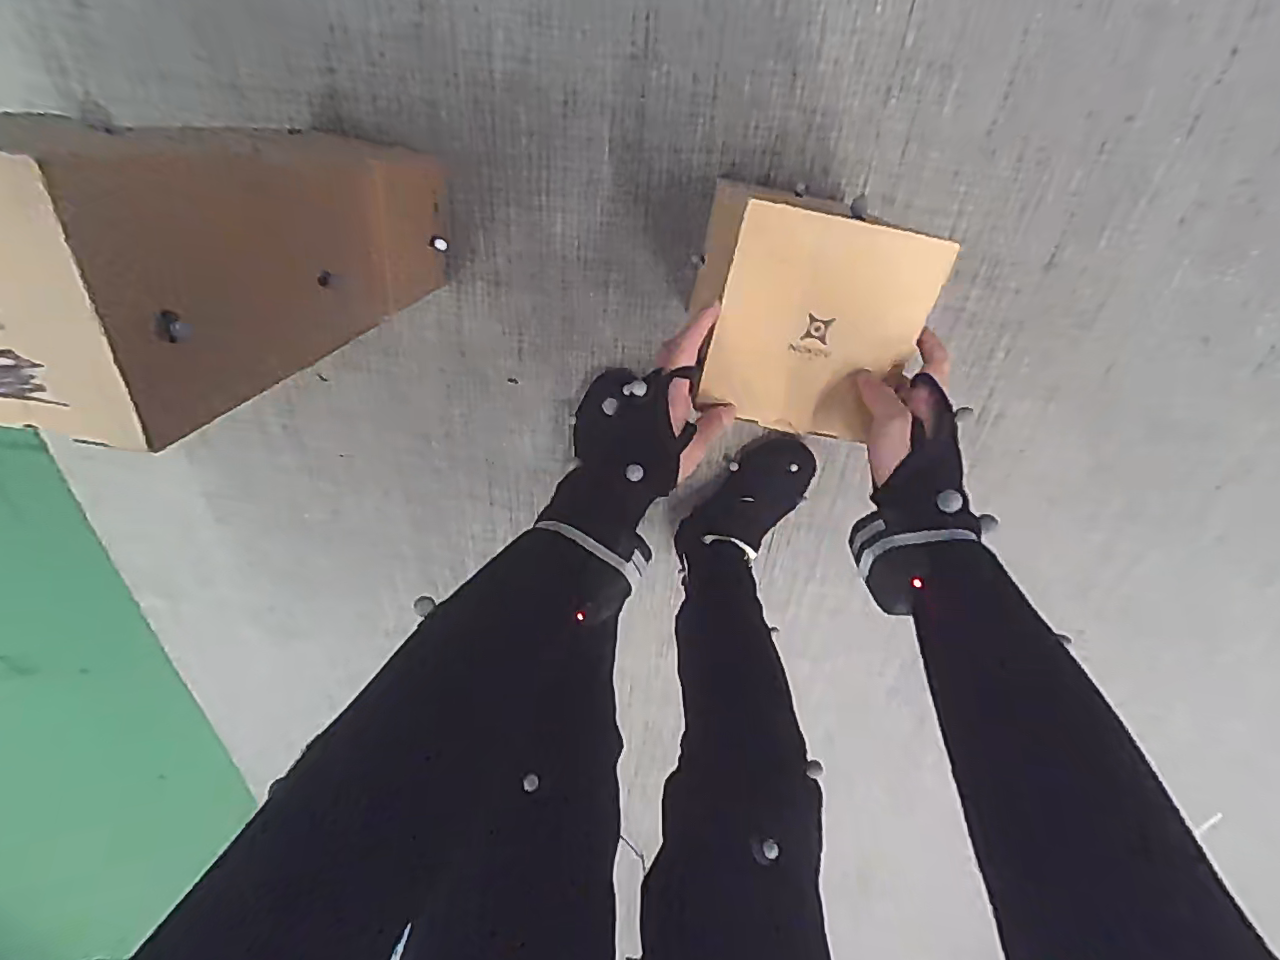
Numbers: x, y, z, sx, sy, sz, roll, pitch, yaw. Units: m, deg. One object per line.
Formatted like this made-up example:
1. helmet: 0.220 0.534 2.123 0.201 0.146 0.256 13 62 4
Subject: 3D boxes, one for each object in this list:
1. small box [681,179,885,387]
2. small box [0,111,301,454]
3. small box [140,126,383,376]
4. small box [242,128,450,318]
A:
1. small box: 0.154 -0.242 0.647 0.168 0.176 0.179 18 123 -3
2. small box: -0.377 -0.145 0.382 0.168 0.176 0.179 10 122 0
3. small box: -0.372 -0.227 0.525 0.168 0.176 0.179 11 124 -1
4. small box: -0.351 -0.316 0.661 0.179 0.176 0.168 11 123 -1
